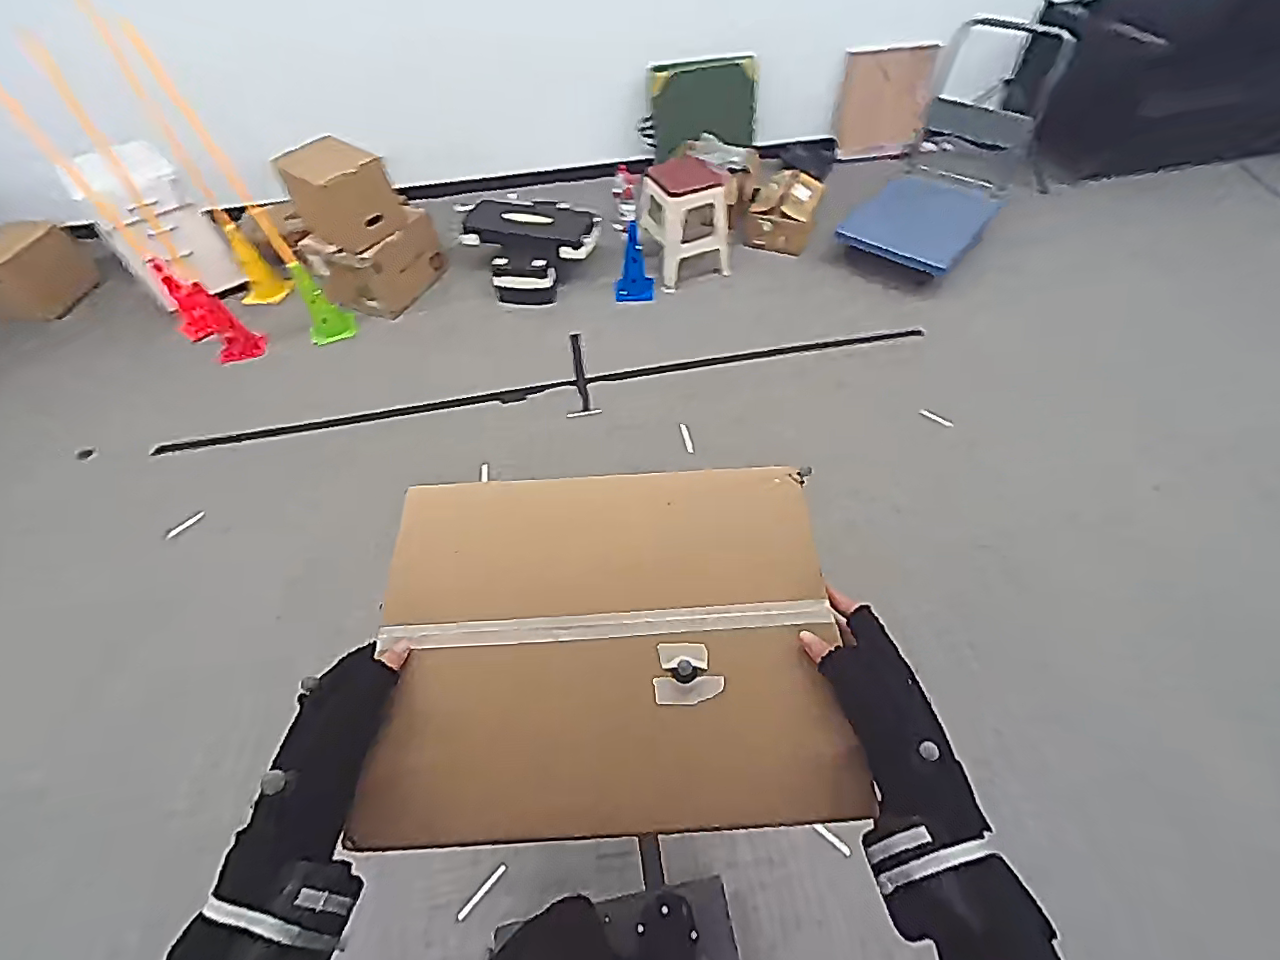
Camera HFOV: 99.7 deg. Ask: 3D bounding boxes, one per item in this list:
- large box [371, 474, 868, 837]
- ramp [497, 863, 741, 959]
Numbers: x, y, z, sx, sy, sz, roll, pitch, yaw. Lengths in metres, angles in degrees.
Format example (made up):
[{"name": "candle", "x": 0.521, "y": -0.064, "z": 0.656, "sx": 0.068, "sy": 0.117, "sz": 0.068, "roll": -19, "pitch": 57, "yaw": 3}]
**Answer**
[{"name": "large box", "x": -0.022, "y": 0.211, "z": 0.628, "sx": 0.408, "sy": 0.320, "sz": 0.320, "roll": -3, "pitch": 60, "yaw": -1}, {"name": "ramp", "x": 0.033, "y": 1.314, "z": 0.946, "sx": 0.509, "sy": 0.206, "sz": 0.991, "roll": -10, "pitch": 54, "yaw": -7}]
